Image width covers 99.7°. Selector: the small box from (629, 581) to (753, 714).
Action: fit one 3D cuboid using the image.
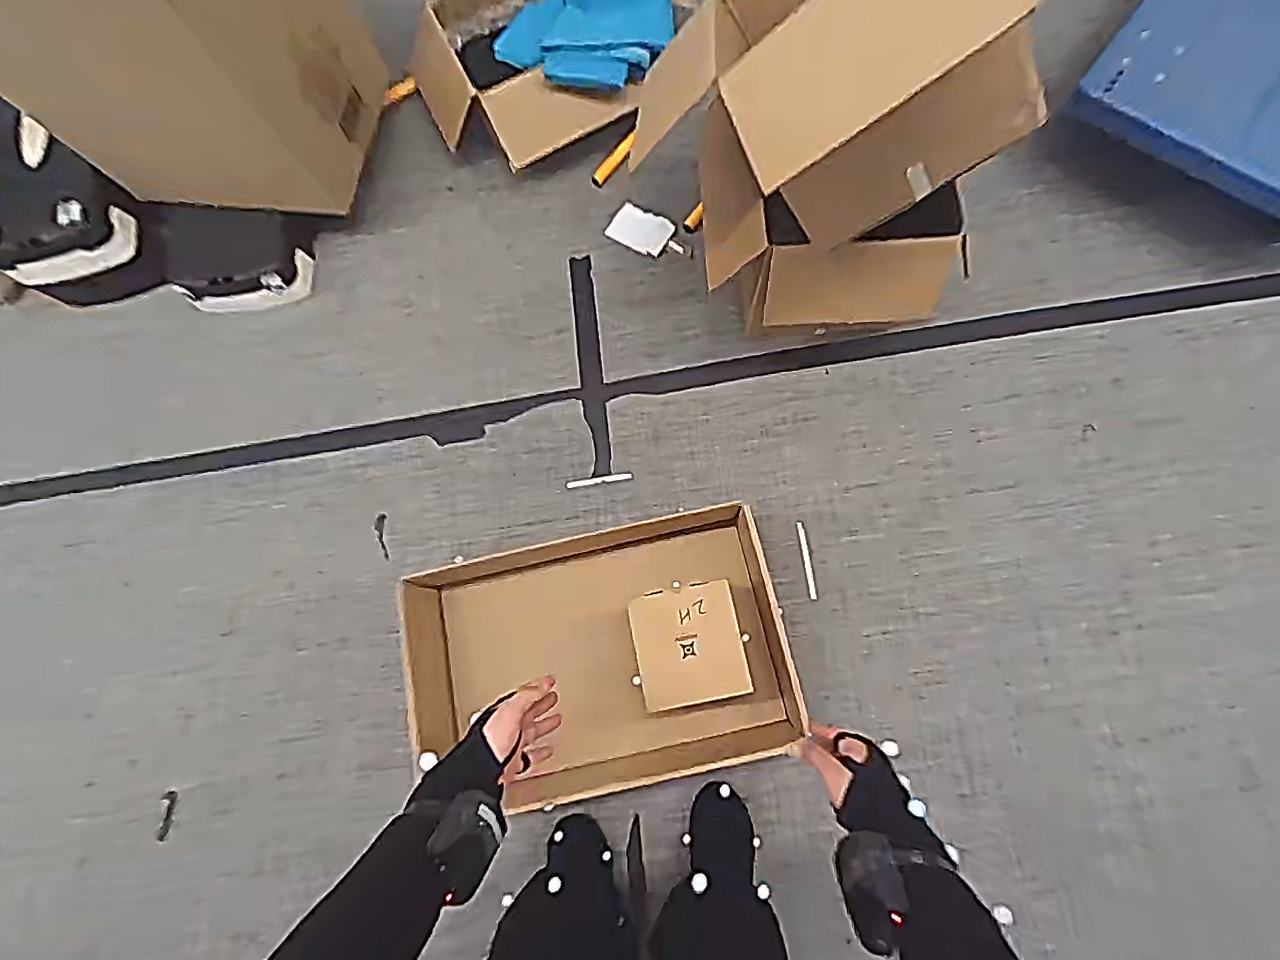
[{"bbox_3d":[0.084,0.273,0.907,0.168,0.176,0.179,-12,75,1],"label":"small box"}]
